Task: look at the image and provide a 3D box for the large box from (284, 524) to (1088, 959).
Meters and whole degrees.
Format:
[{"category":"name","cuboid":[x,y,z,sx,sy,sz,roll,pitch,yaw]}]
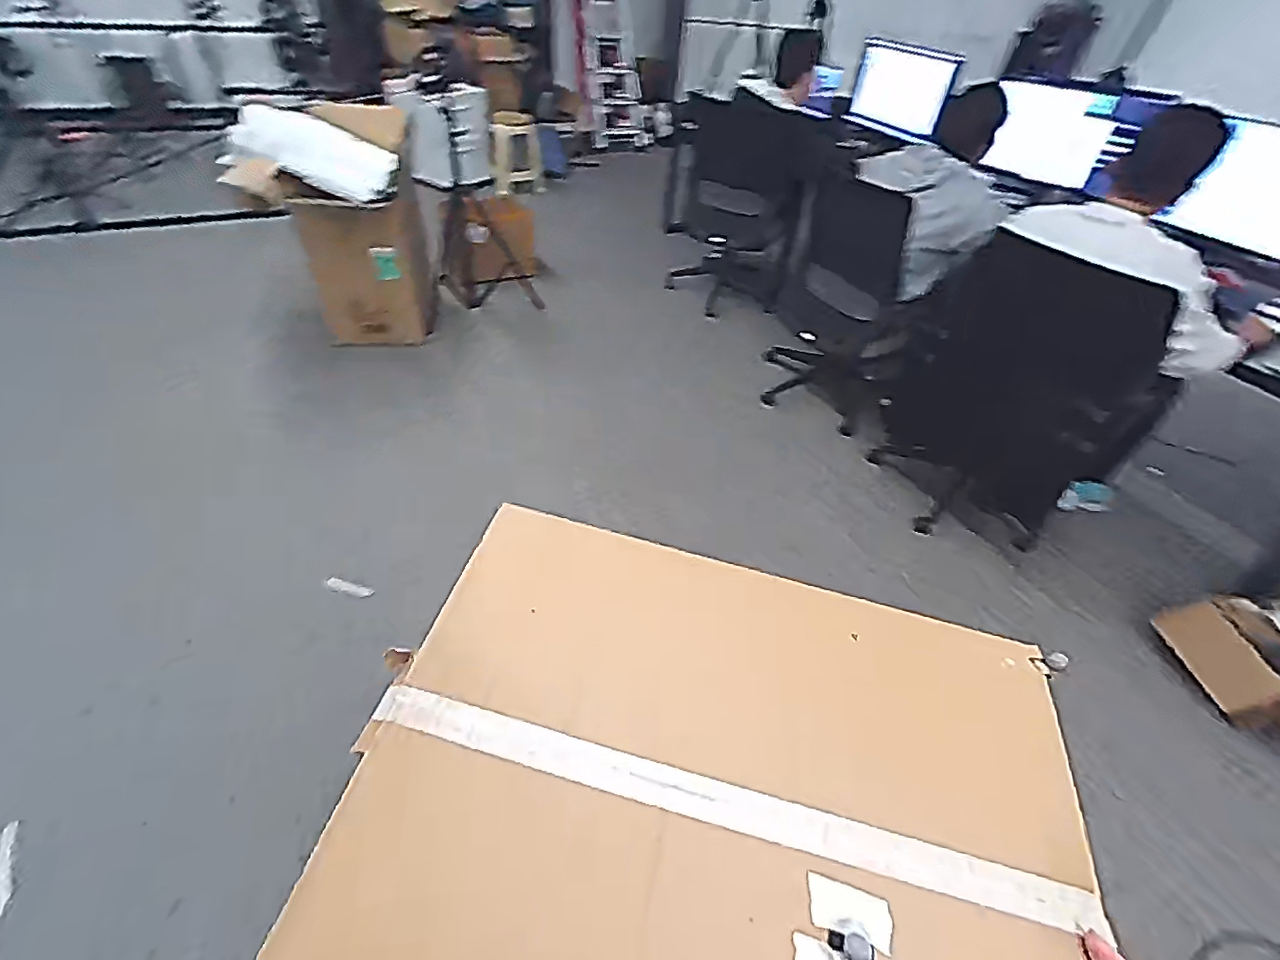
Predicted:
[{"category":"large box","cuboid":[0.031,0.284,0.426,0.408,0.320,0.320,14,51,4]}]
